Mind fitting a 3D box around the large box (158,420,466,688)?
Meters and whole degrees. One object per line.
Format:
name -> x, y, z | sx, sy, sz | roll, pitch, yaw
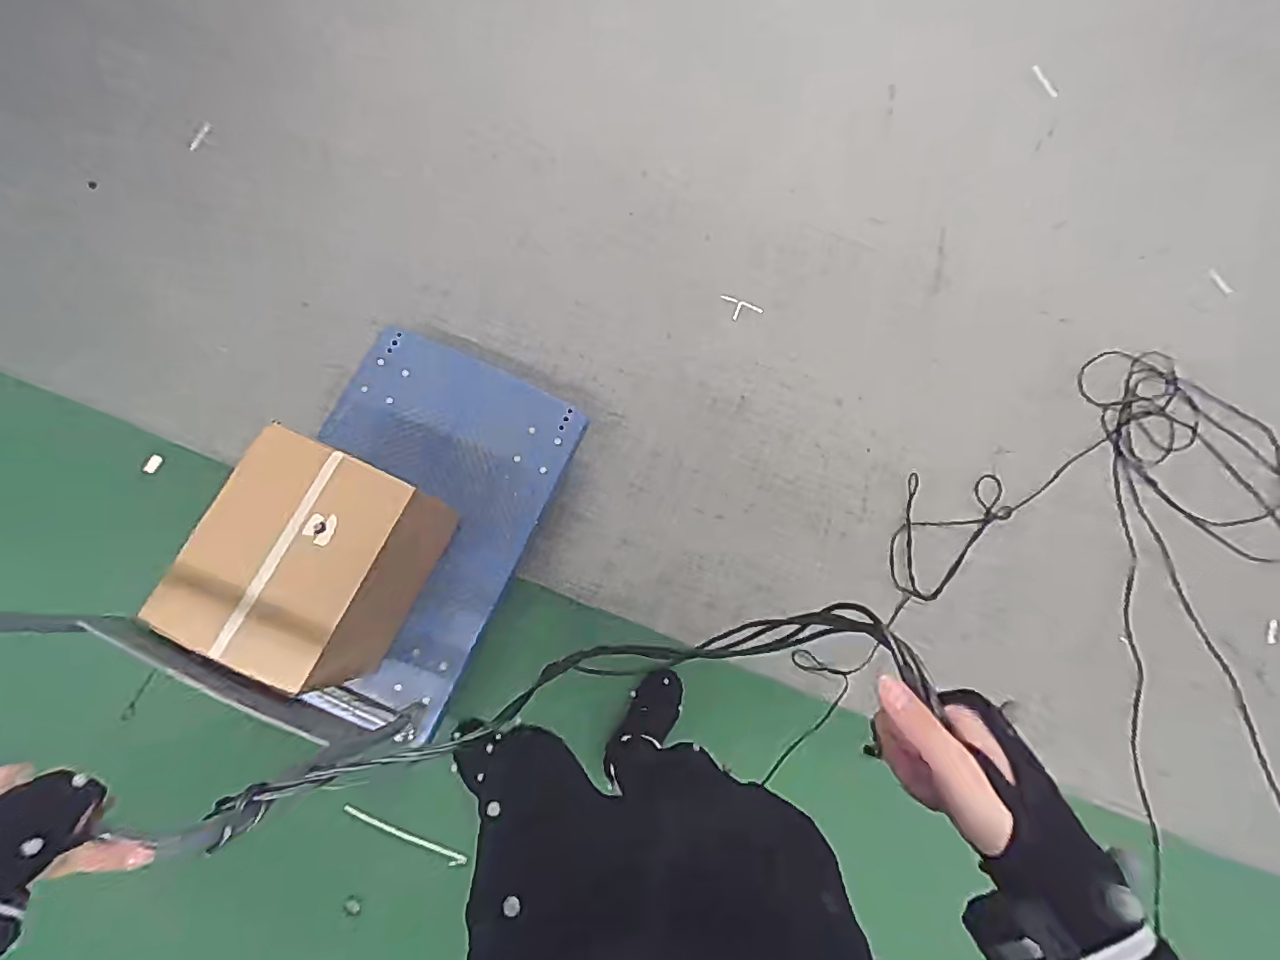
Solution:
large box -> -0.622, 0.157, 1.109 | 0.320, 0.320, 0.408 | 24, 76, 3
